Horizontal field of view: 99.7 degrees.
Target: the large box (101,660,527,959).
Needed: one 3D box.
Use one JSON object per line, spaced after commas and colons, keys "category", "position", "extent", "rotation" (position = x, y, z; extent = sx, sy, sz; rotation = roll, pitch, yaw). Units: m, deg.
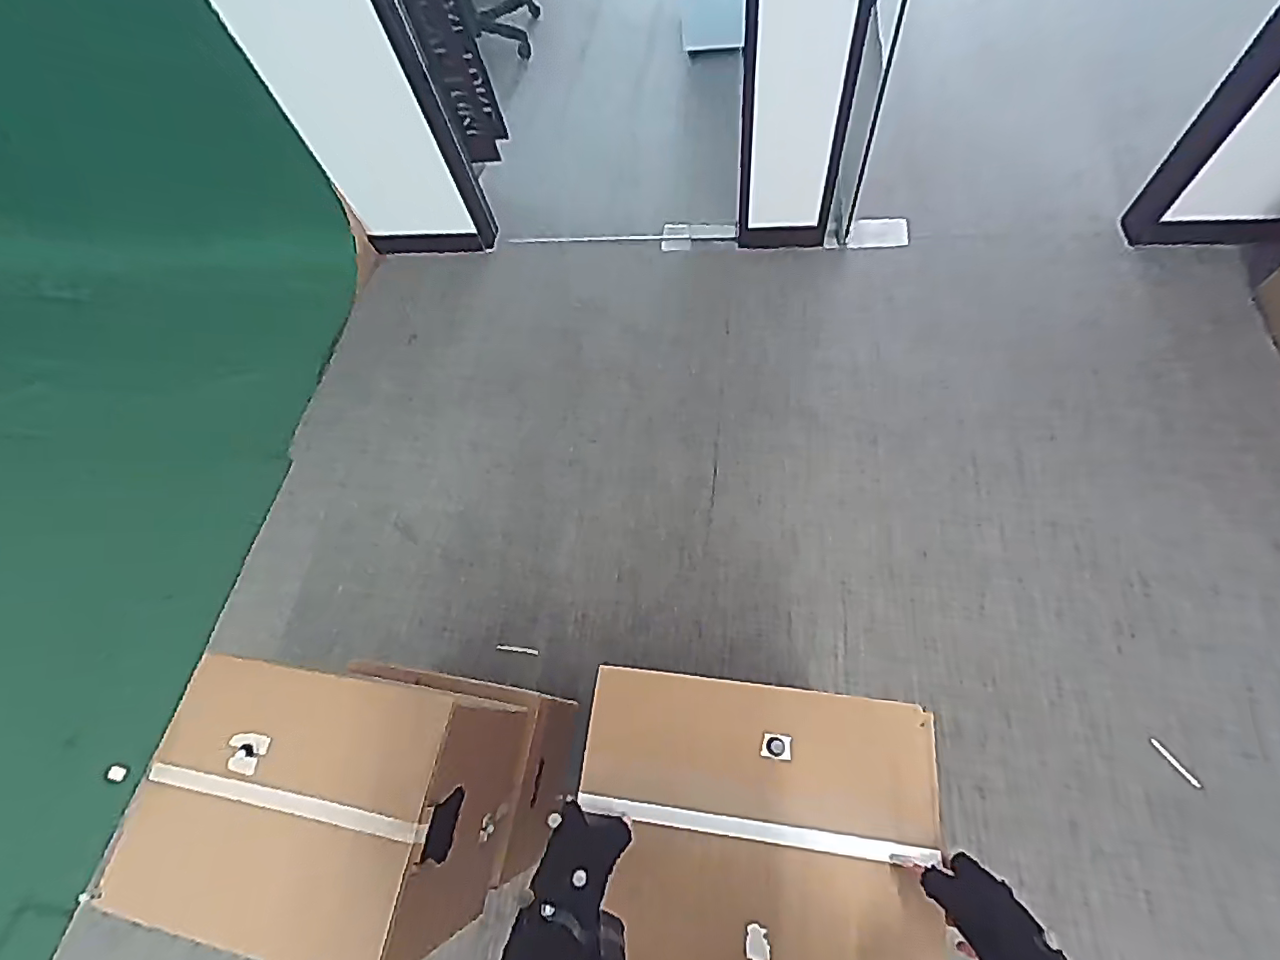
{"category": "large box", "position": [-0.437, 0.478, 0.828], "extent": [0.408, 0.320, 0.320], "rotation": [5, 66, 12]}
